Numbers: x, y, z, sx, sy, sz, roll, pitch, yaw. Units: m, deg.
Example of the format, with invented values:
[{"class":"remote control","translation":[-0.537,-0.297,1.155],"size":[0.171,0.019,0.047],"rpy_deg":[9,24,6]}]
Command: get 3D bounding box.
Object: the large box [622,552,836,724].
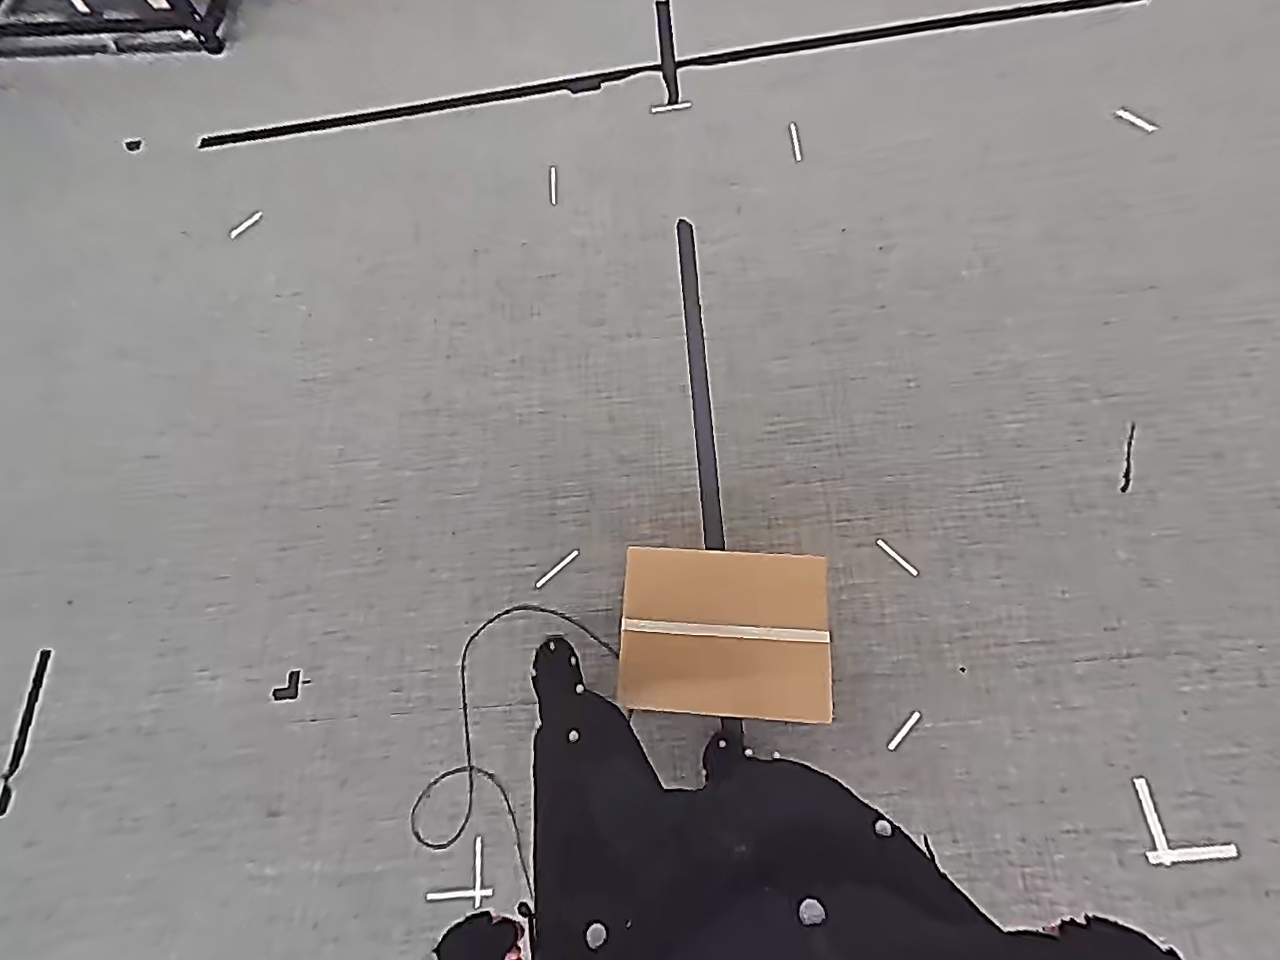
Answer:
[{"class":"large box","translation":[0.185,0.340,1.196],"size":[0.408,0.320,0.320],"rpy_deg":[2,73,6]}]
